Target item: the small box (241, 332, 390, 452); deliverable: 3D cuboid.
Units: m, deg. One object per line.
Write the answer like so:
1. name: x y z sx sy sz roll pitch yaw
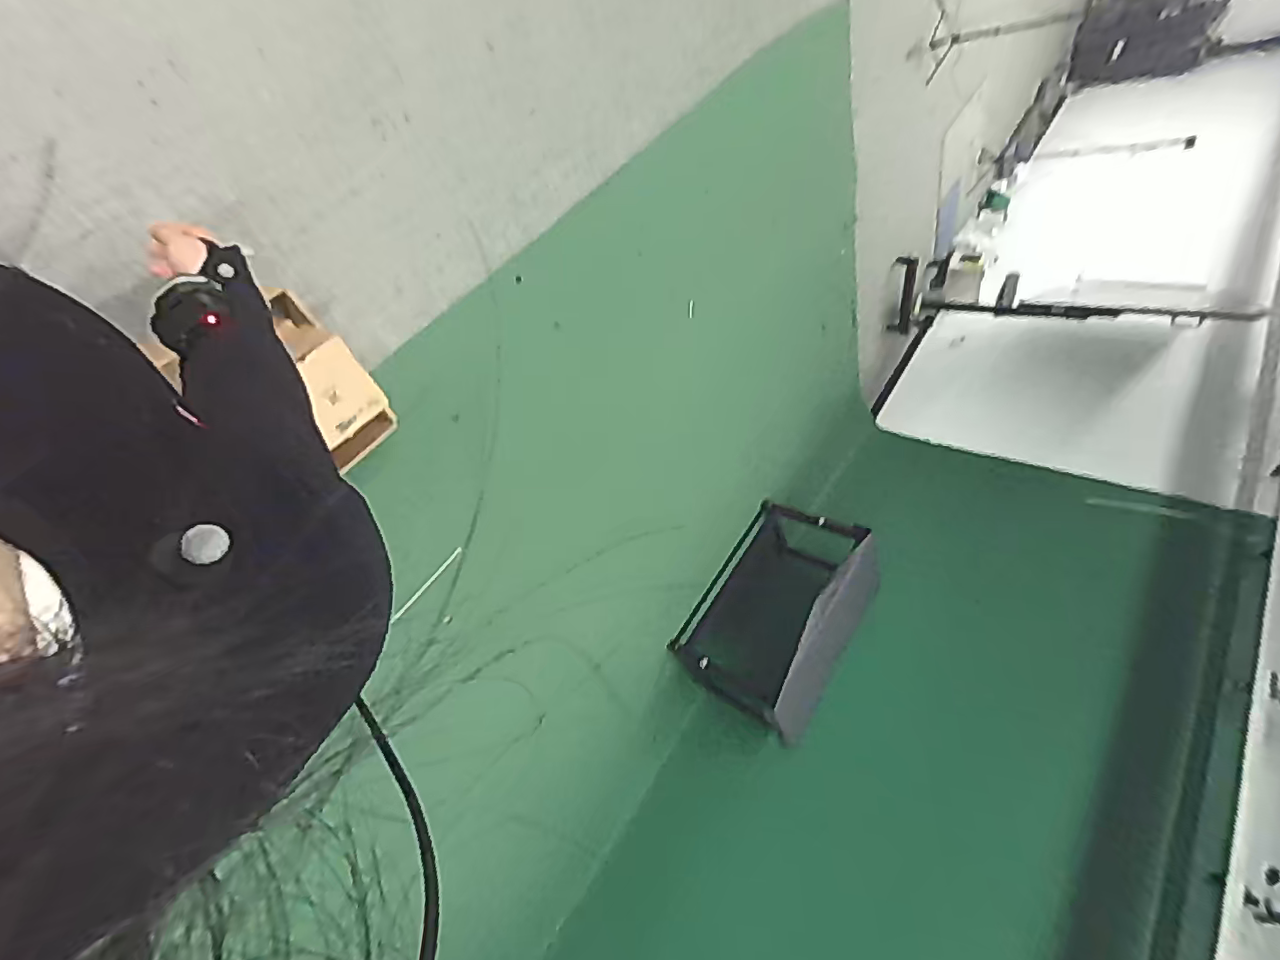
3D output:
1. small box: -0.661 -0.187 1.103 0.168 0.176 0.179 -48 138 -26
